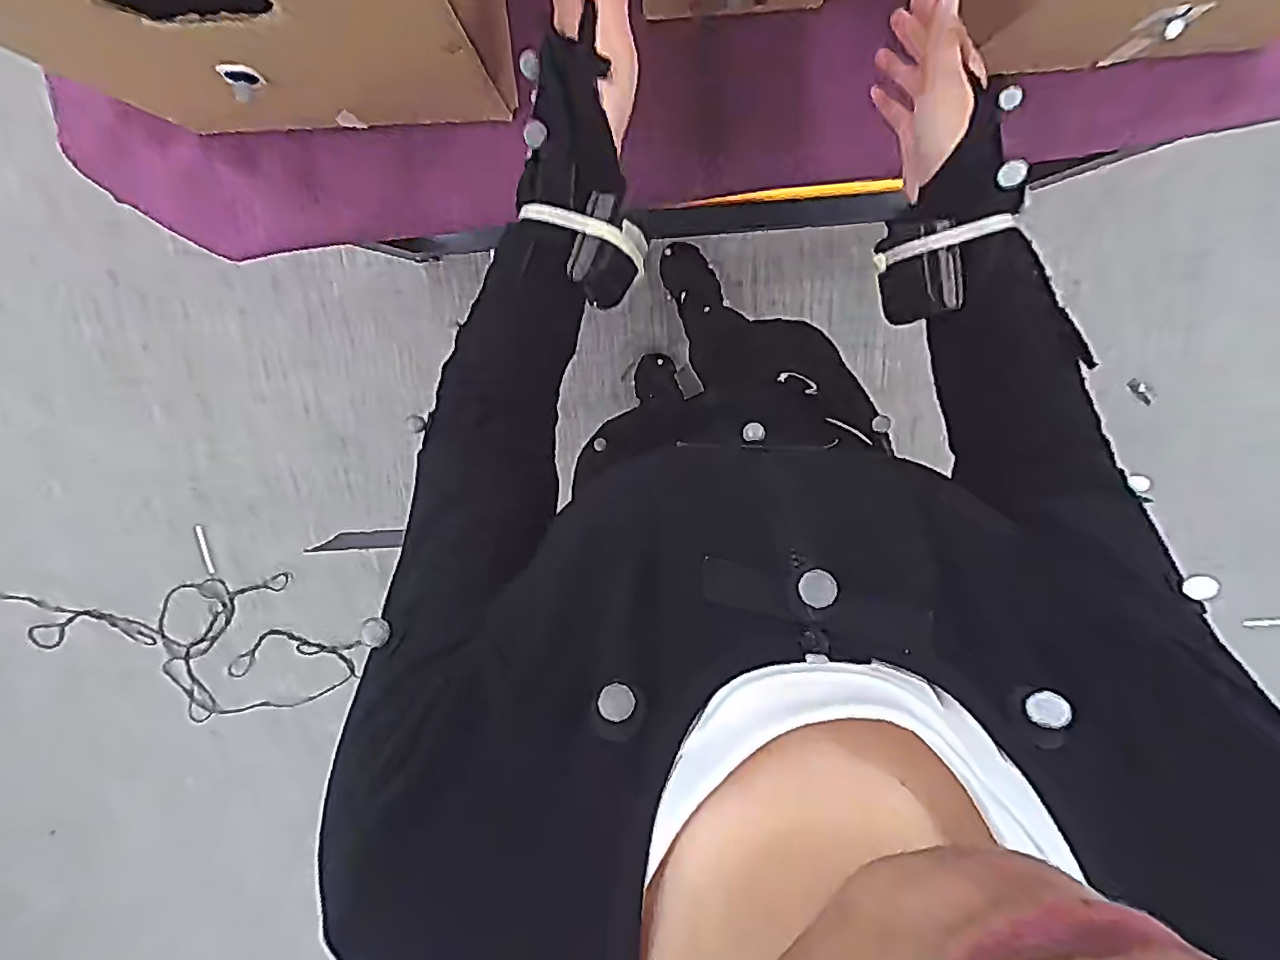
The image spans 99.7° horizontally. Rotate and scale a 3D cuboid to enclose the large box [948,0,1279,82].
[{"bbox_3d":[0.420,-0.542,0.316,0.320,0.320,0.408,-4,105,1],"label":"large box"}]
